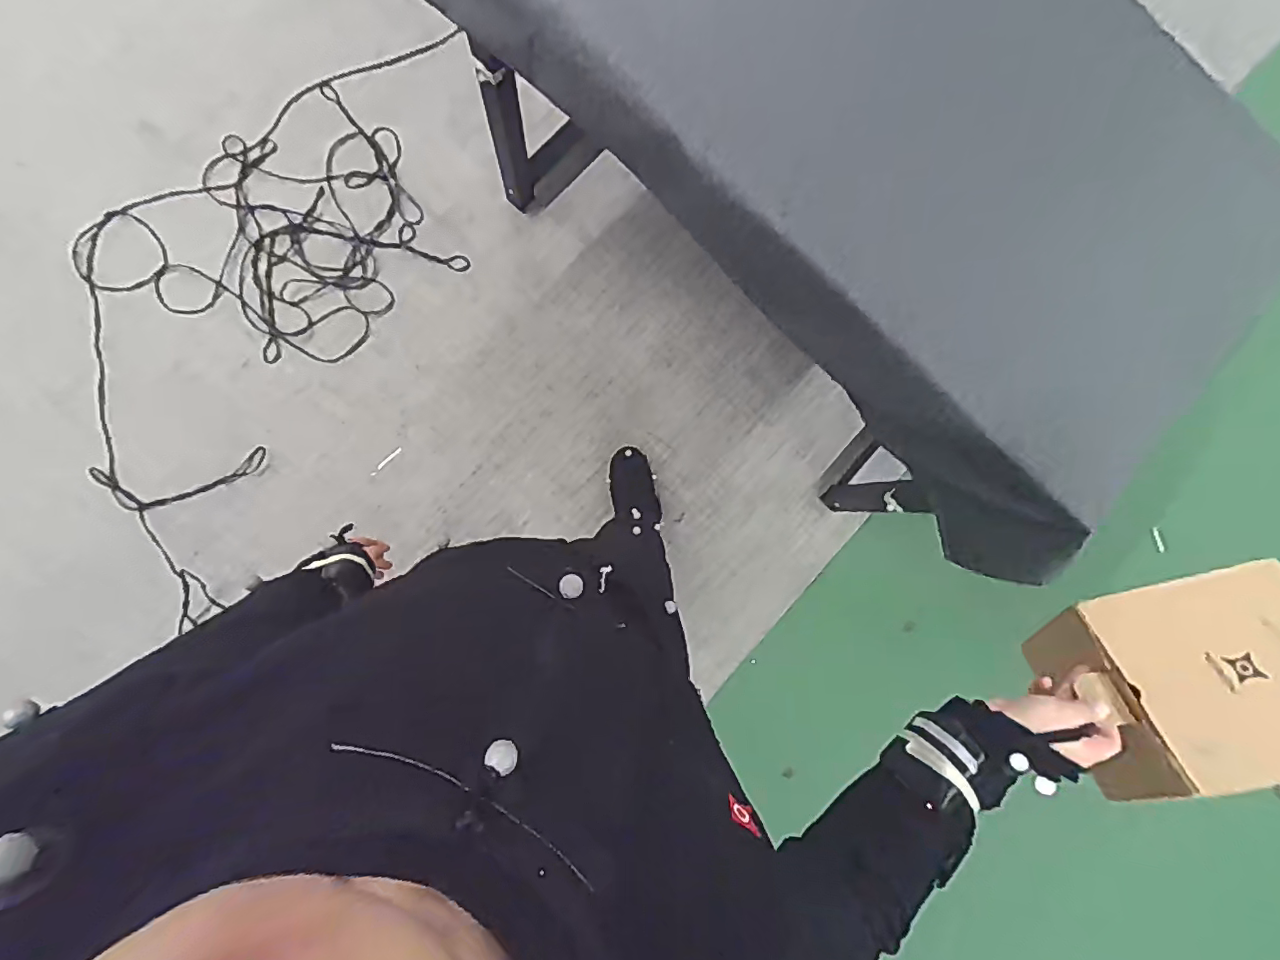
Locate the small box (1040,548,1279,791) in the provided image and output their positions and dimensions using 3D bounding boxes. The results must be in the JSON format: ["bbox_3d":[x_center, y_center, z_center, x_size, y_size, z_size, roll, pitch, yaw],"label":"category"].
[{"bbox_3d":[0.531,0.192,0.522,0.179,0.176,0.168,-17,57,7],"label":"small box"}]
